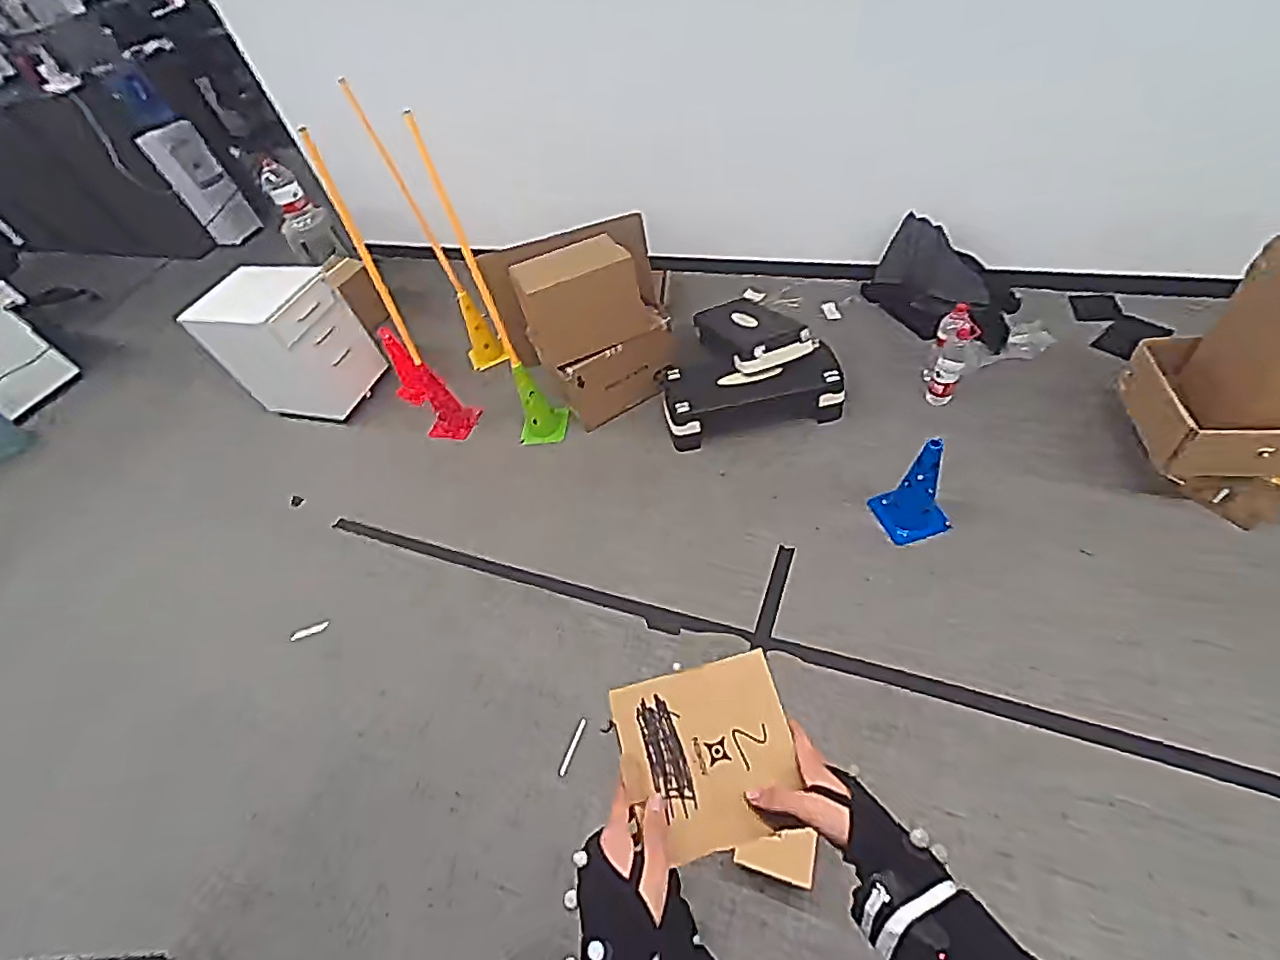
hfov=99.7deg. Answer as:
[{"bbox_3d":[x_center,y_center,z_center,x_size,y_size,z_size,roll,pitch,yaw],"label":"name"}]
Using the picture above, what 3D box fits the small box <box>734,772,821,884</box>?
[{"bbox_3d":[0.321,0.814,1.260,0.168,0.176,0.179,9,54,19],"label":"small box"}]
